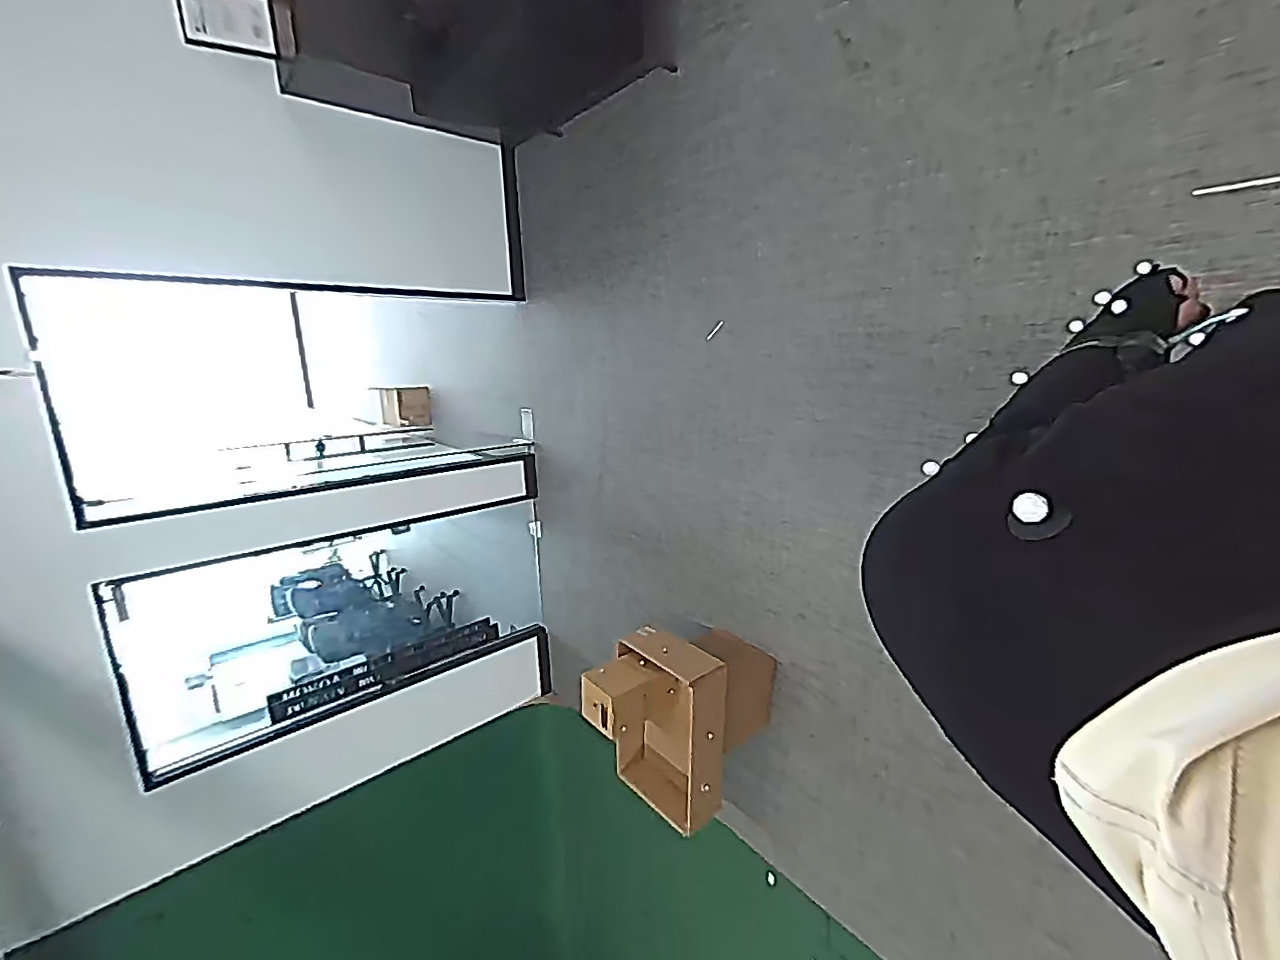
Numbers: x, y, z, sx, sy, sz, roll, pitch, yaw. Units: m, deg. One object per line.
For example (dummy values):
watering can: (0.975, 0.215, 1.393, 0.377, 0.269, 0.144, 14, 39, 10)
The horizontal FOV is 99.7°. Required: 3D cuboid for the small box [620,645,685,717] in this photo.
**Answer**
small box: (0.046, 0.733, 2.000, 0.179, 0.176, 0.168, 16, 110, 46)
